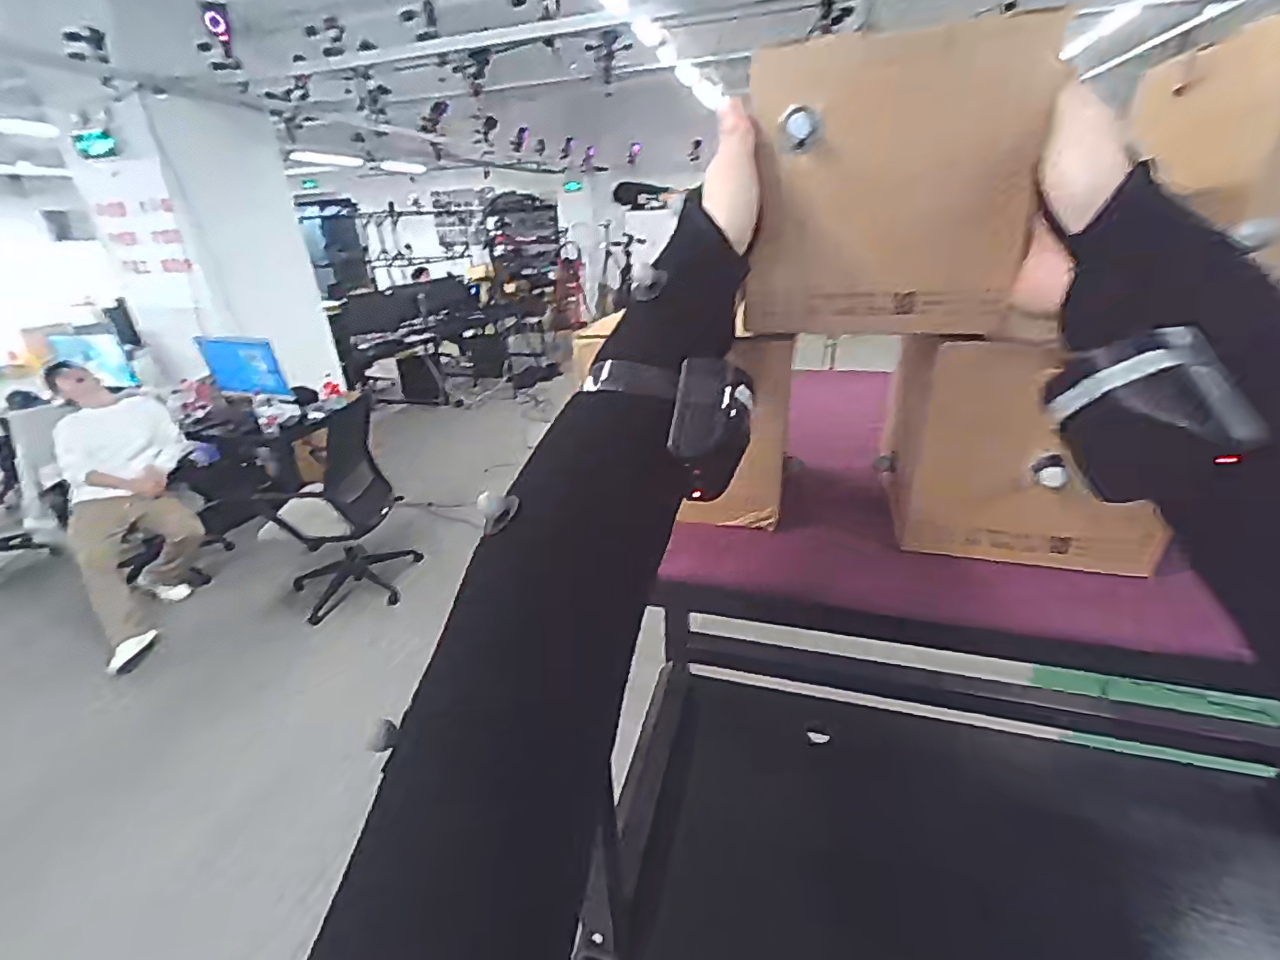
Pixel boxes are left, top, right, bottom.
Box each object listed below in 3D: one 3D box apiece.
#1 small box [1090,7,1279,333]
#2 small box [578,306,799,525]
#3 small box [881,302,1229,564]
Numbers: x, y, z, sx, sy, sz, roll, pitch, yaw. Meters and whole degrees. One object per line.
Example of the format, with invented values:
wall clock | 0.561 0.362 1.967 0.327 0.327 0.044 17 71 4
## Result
small box | 0.435 -0.188 0.348 0.179 0.176 0.168 6 25 14
small box | 0.055 -0.070 0.521 0.179 0.176 0.168 5 26 15
small box | 0.306 -0.048 0.450 0.168 0.176 0.179 5 25 16
